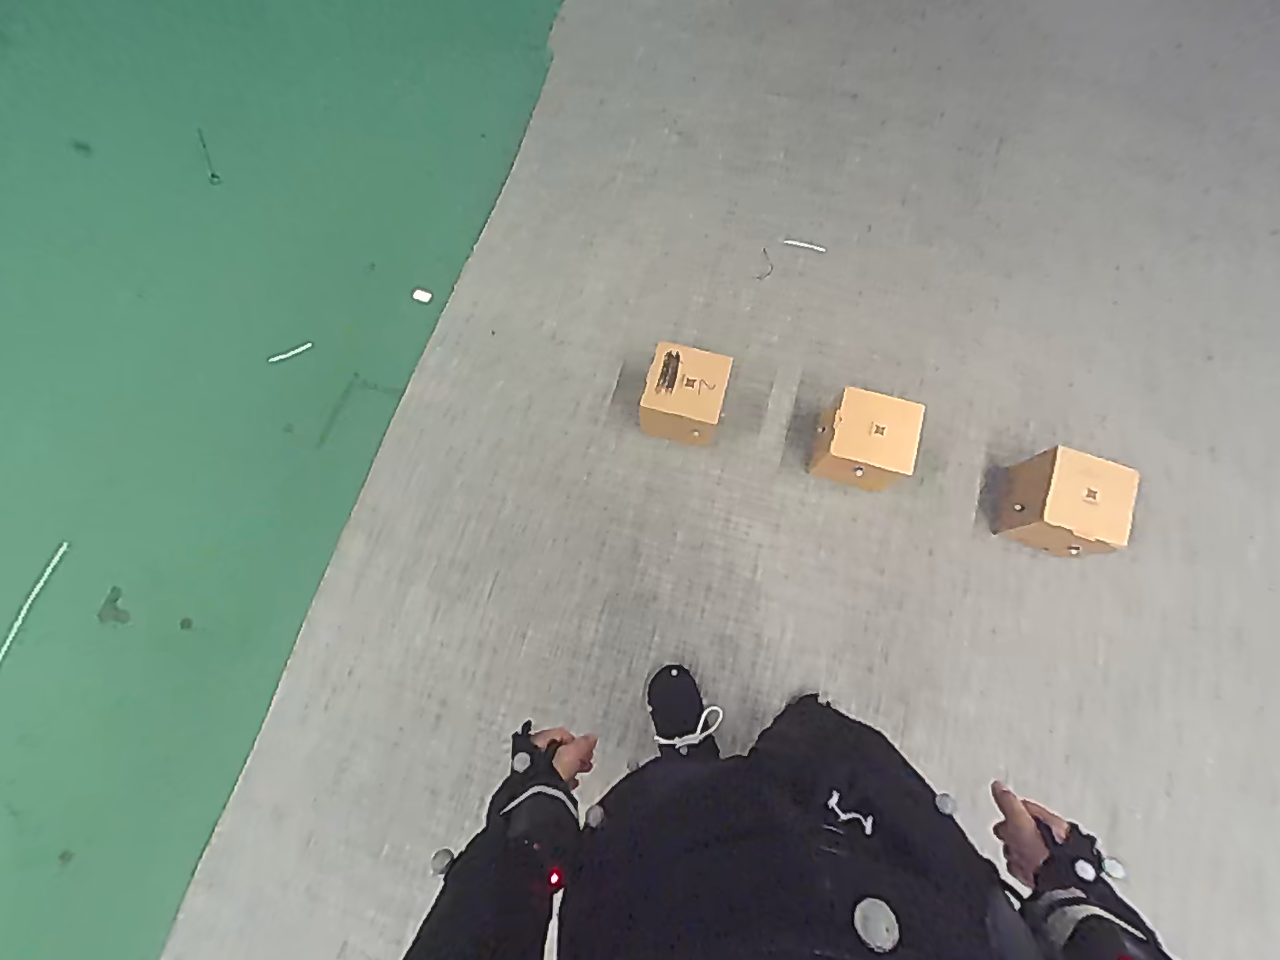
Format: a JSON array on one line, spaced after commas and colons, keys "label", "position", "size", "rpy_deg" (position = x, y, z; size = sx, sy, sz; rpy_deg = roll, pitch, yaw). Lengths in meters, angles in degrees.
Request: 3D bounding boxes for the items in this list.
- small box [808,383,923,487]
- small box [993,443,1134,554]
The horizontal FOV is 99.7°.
[{"label": "small box", "position": [0.501, -0.093, 1.221], "size": [0.179, 0.176, 0.168], "rpy_deg": [16, 76, 6]}, {"label": "small box", "position": [0.904, 0.048, 1.171], "size": [0.168, 0.176, 0.179], "rpy_deg": [21, 76, 6]}]
